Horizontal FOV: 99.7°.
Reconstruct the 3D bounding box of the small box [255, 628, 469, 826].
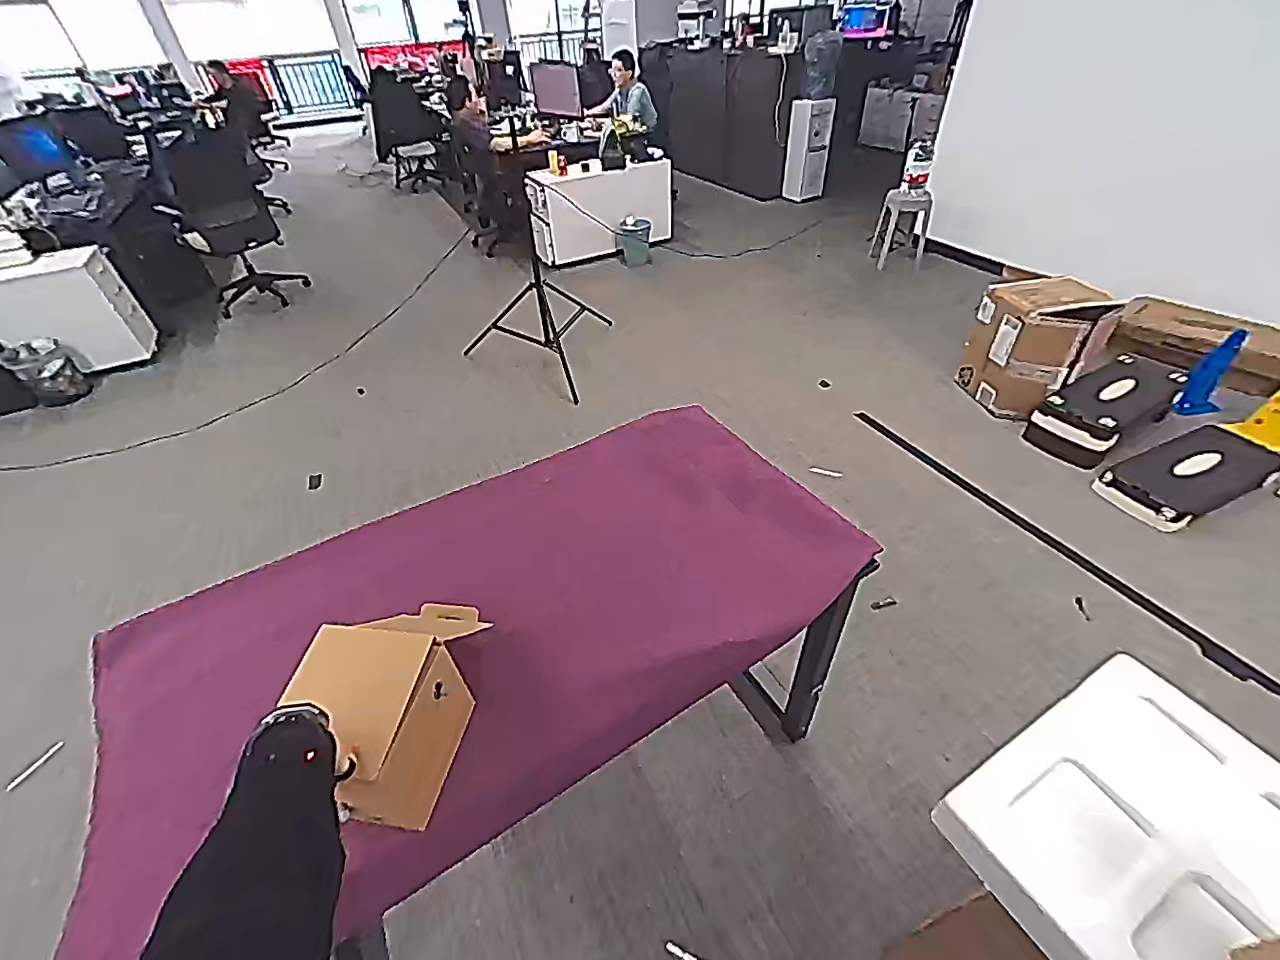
[{"bbox_3d":[-0.348,0.327,0.722,0.168,0.176,0.179,3,42,9],"label":"small box"}]
